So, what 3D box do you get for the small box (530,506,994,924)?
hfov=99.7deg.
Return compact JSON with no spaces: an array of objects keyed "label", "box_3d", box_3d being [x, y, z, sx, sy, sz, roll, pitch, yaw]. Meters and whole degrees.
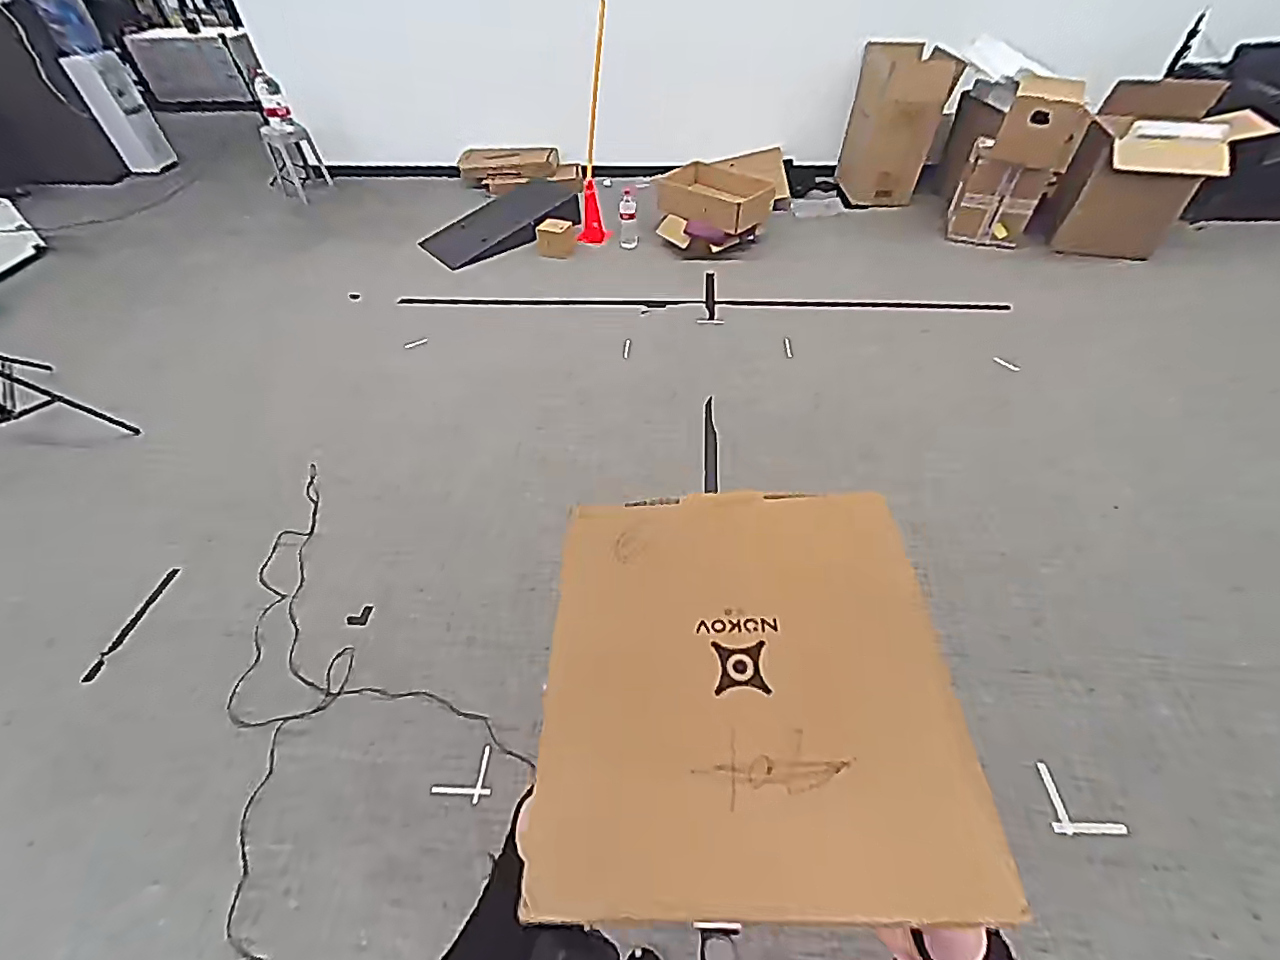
[{"label":"small box","box_3d":[0.048,0.135,0.304,0.168,0.176,0.179,-3,51,4]}]
